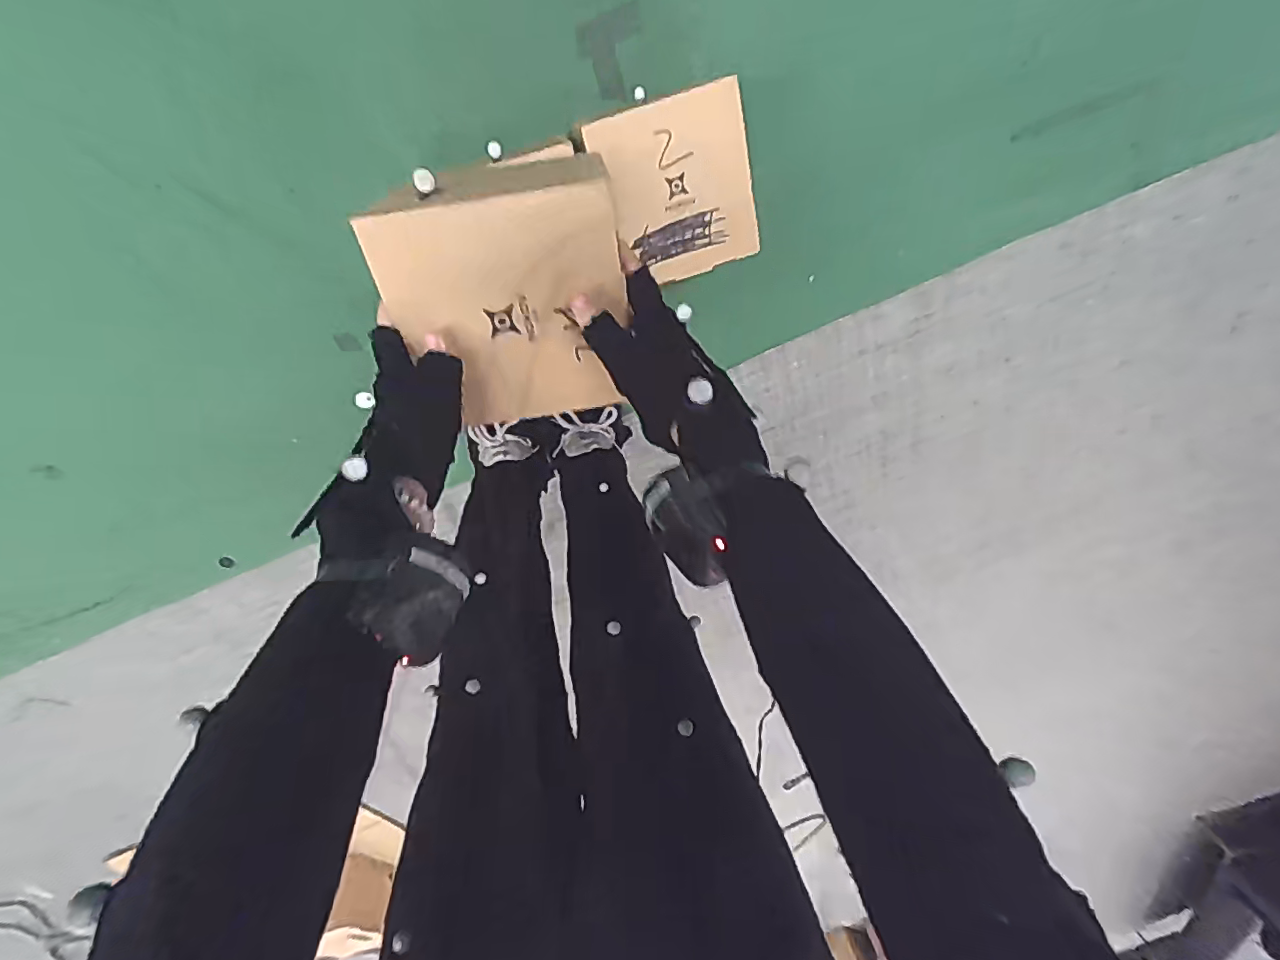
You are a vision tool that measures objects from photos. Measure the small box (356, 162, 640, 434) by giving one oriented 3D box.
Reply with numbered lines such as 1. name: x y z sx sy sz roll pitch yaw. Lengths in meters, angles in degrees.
1. small box: -0.100 -0.161 0.462 0.179 0.176 0.168 -9 127 -2

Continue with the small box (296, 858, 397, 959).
1. small box: -0.807 1.192 1.511 0.179 0.176 0.168 -29 124 9
